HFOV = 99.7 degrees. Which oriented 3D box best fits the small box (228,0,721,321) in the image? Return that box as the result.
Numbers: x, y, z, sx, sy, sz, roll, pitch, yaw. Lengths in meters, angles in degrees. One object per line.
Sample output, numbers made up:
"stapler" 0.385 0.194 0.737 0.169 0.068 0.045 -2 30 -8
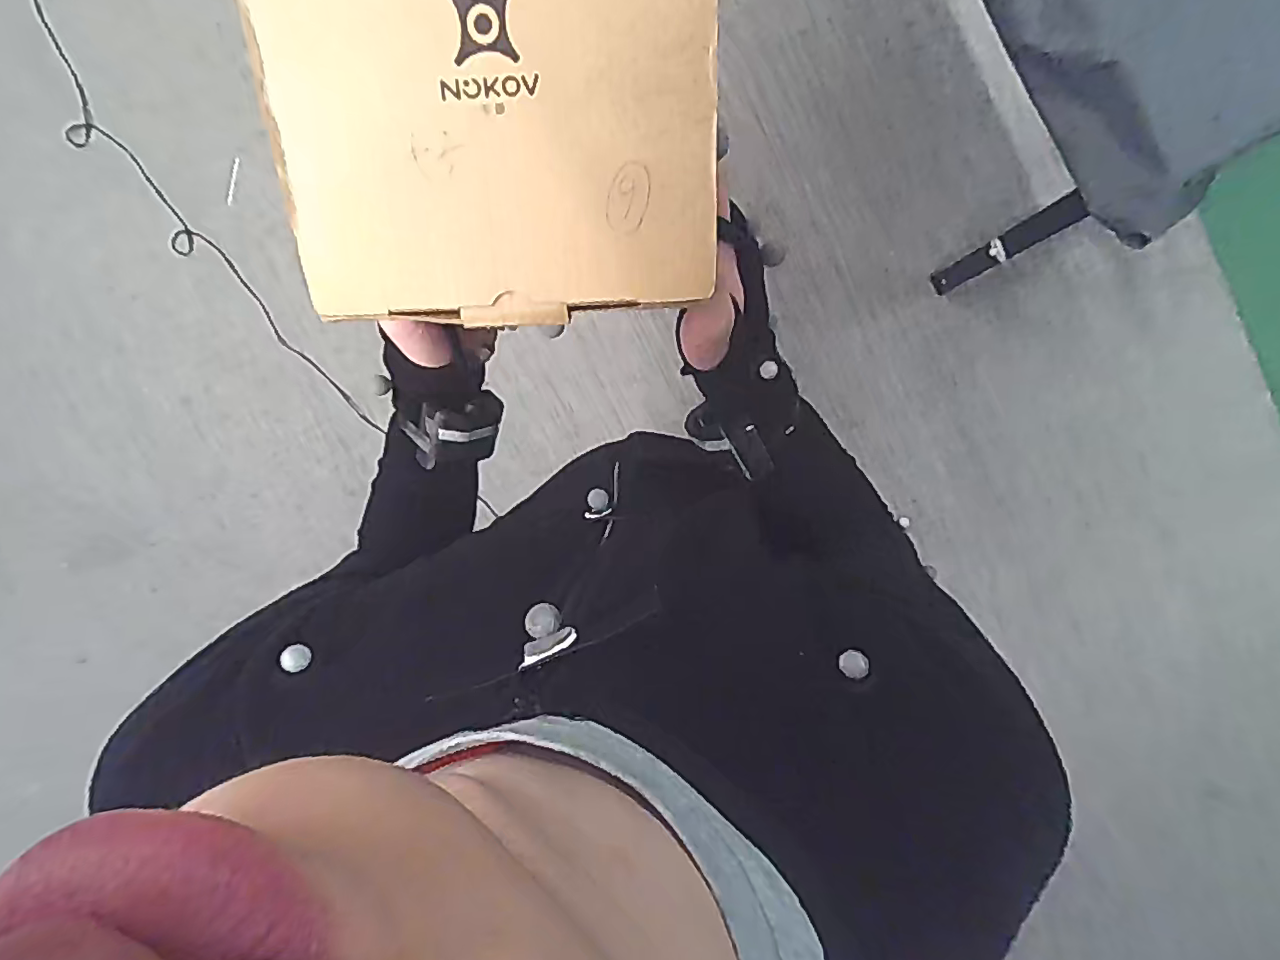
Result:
"small box" -0.054 -0.177 0.258 0.168 0.176 0.179 -3 111 0
